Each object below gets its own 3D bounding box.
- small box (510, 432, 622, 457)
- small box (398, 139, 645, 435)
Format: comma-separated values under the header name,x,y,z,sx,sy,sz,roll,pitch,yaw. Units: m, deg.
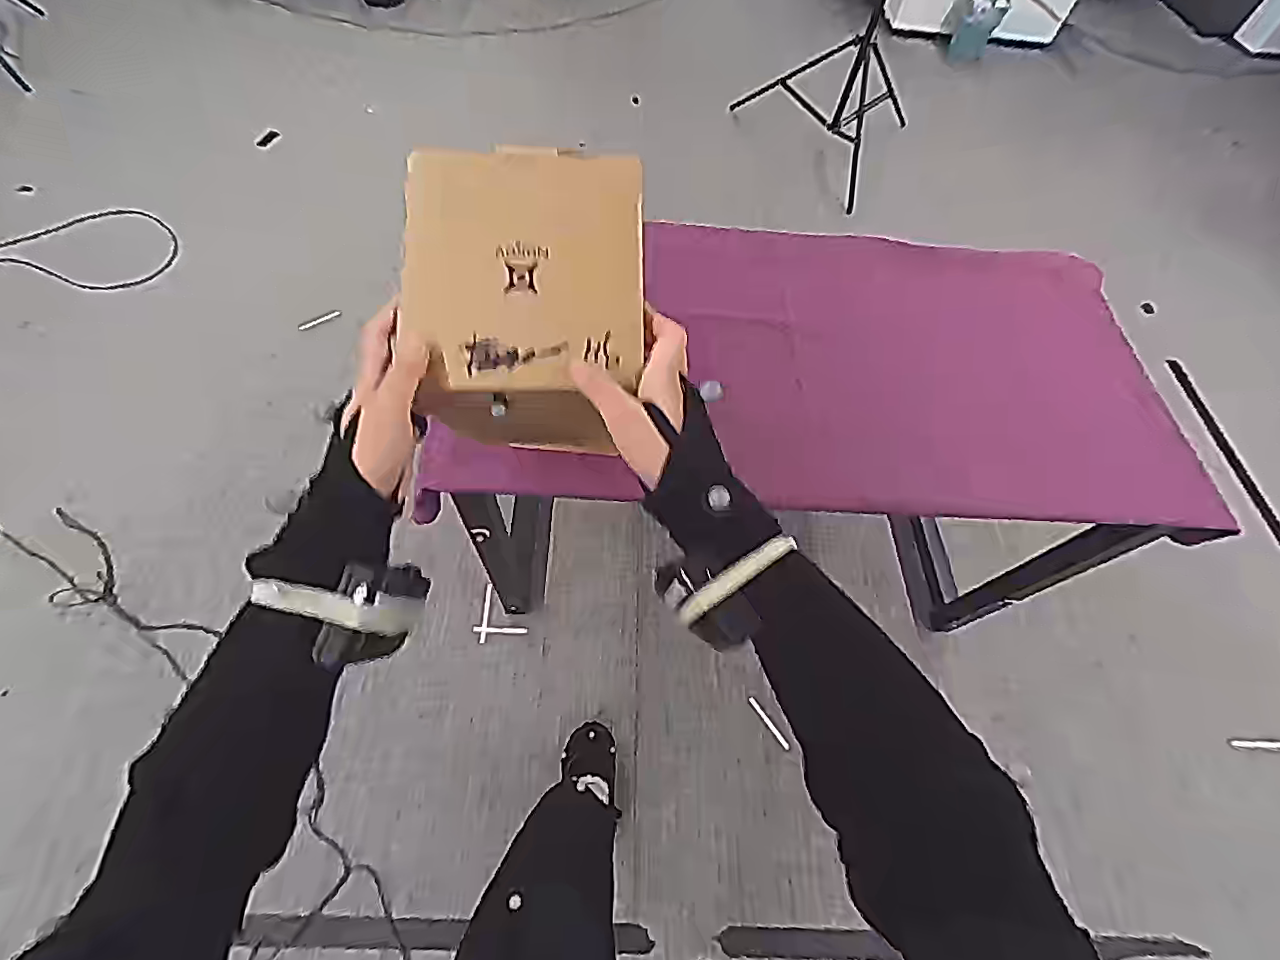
name,x,y,z,sx,sy,sz,roll,pitch,yaw
small box,-0.098,-0.155,0.761,0.168,0.176,0.179,5,61,-3
small box,-0.083,-0.145,0.456,0.168,0.176,0.179,0,80,-2
